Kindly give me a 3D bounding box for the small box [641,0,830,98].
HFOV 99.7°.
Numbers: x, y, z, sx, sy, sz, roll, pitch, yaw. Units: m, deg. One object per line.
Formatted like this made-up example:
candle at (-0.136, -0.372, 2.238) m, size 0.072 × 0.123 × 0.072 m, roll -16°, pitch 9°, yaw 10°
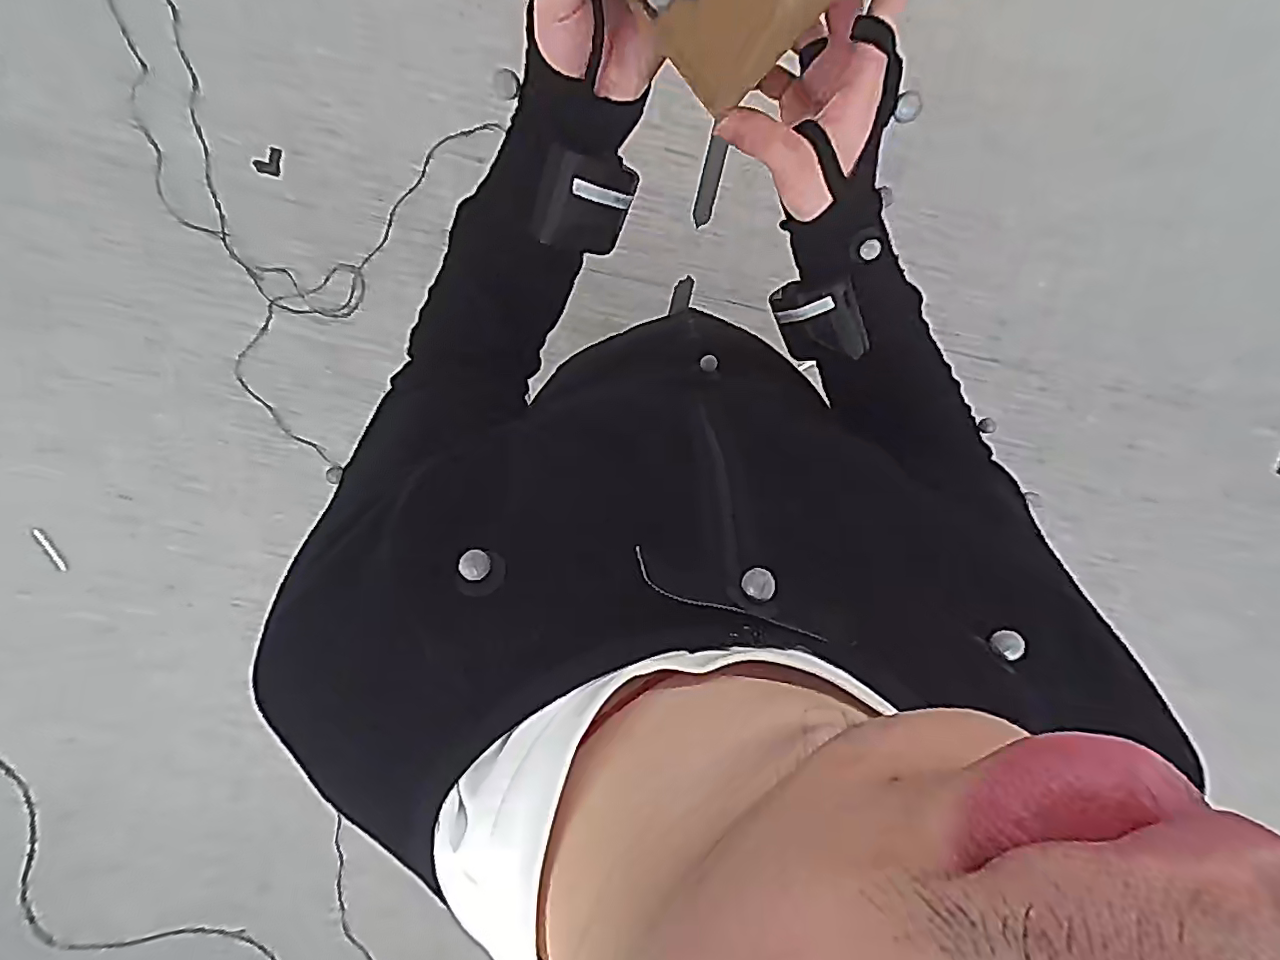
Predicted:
small box at (0.055, -0.290, 0.196) m, size 0.179 × 0.176 × 0.168 m, roll -42°, pitch 109°, yaw 12°
